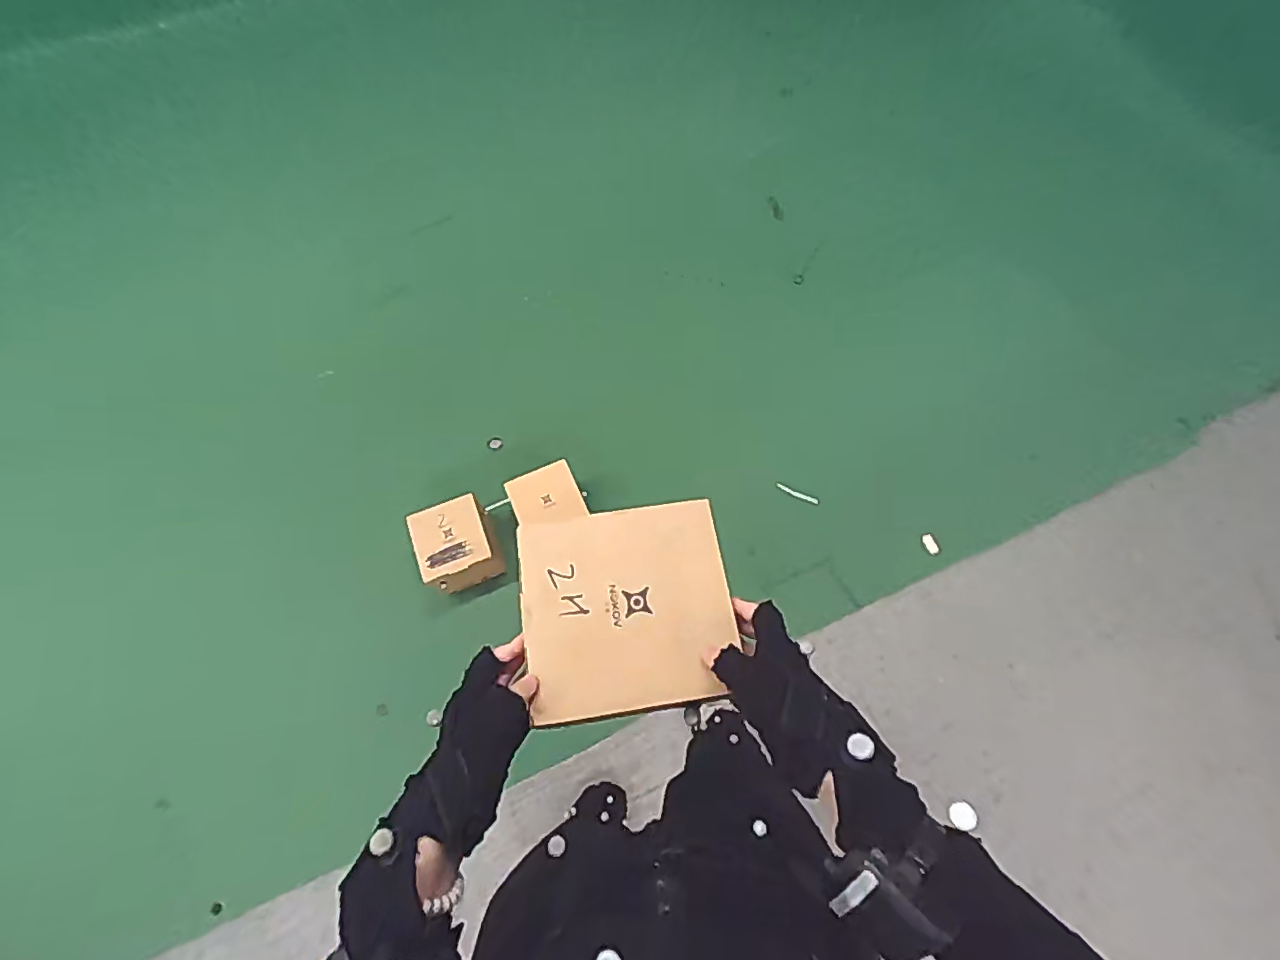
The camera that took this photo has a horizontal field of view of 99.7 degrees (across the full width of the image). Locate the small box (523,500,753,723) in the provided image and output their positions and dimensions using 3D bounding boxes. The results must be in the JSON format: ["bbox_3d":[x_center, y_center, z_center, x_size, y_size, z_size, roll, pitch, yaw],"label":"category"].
[{"bbox_3d":[-0.009,0.133,0.523,0.179,0.176,0.168,-8,66,-5],"label":"small box"}]

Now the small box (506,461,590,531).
[{"bbox_3d":[-0.227,0.081,1.389,0.168,0.176,0.179,-23,72,-10],"label":"small box"}]
